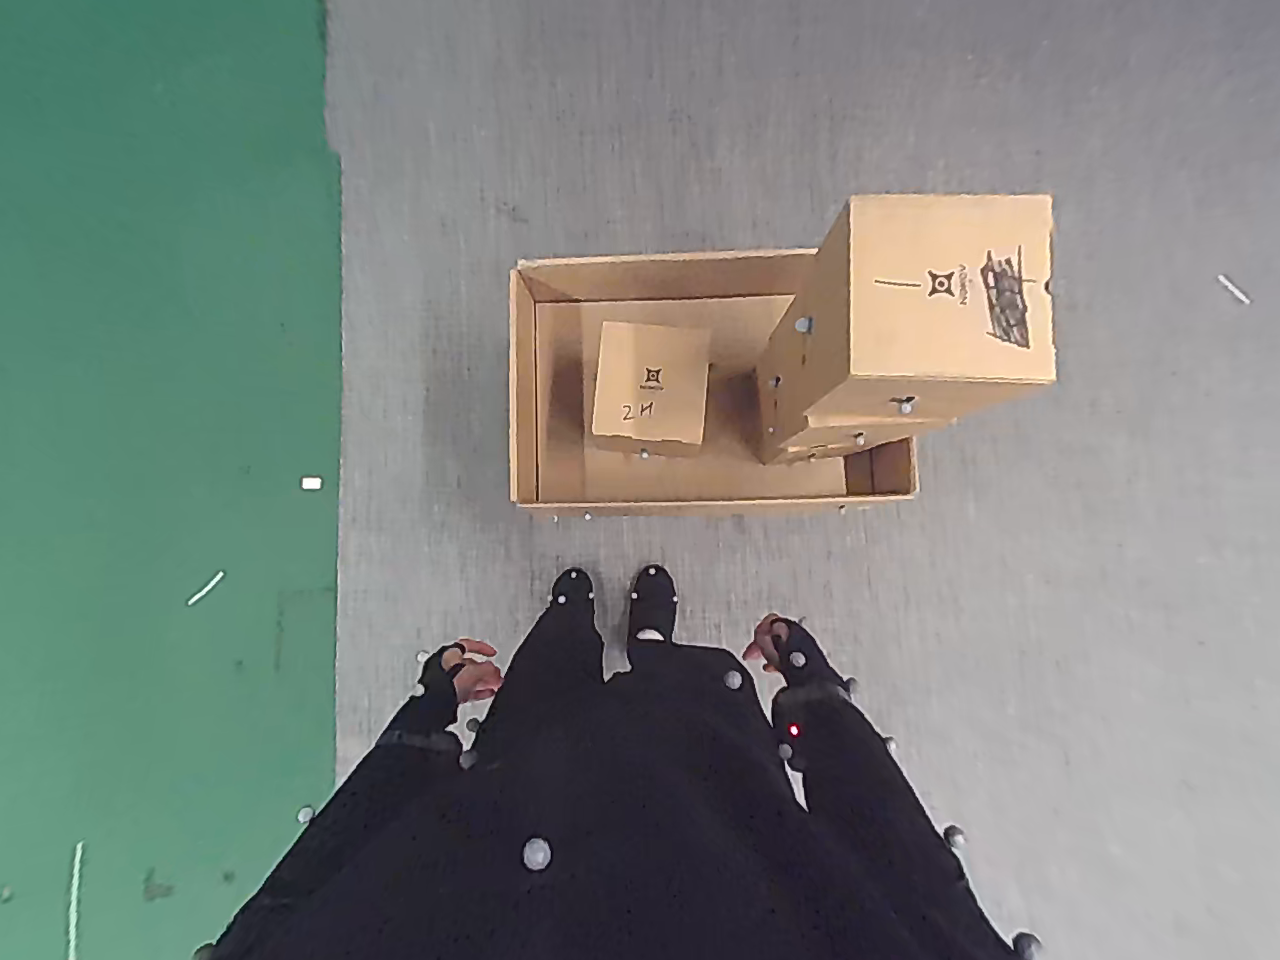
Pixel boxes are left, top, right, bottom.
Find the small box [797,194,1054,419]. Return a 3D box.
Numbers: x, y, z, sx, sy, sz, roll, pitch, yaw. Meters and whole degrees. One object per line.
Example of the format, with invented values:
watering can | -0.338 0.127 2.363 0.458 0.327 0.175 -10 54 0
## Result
small box | 0.269 -0.159 0.544 0.179 0.176 0.168 2 85 3
